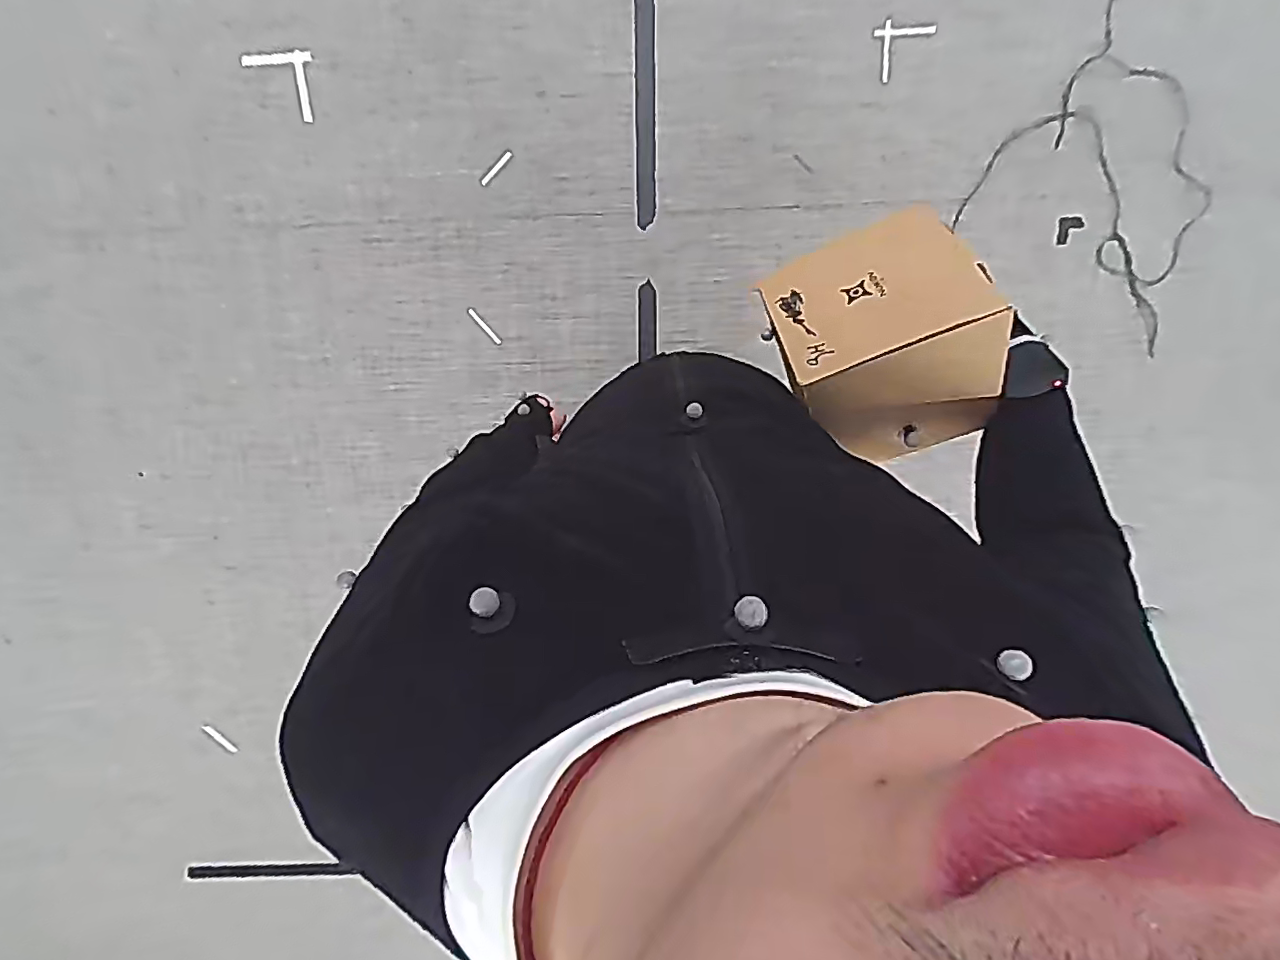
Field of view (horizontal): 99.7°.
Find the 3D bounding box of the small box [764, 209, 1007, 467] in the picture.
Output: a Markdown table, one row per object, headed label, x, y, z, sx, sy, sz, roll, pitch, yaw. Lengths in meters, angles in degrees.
| label | x | y | z | sx | sy | sz | roll | pitch | yaw |
| --- | --- | --- | --- | --- | --- | --- | --- | --- | --- |
| small box | 0.252 | -0.141 | 0.580 | 0.179 | 0.168 | 0.176 | -20 | 142 | 16 |
